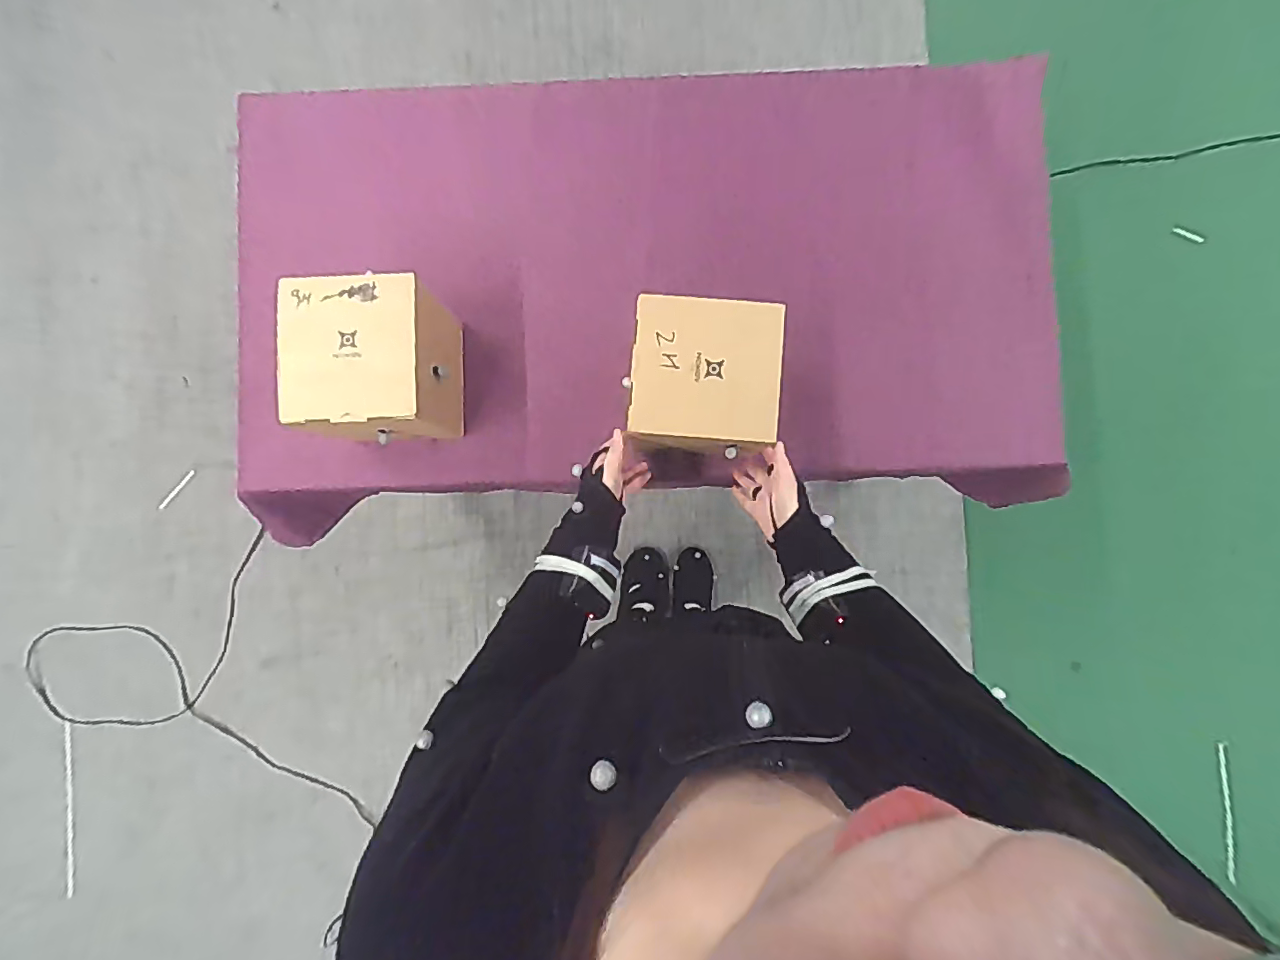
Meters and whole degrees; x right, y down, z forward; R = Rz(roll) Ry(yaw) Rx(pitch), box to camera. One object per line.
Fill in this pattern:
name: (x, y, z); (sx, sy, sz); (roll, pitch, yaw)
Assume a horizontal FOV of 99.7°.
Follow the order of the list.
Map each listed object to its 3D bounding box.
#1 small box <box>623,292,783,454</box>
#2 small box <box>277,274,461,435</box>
small box: (0.075, -0.128, 0.708); (0.179, 0.176, 0.168); (5, 87, 2)
small box: (-0.345, -0.153, 0.719); (0.168, 0.176, 0.179); (-2, 87, 1)
